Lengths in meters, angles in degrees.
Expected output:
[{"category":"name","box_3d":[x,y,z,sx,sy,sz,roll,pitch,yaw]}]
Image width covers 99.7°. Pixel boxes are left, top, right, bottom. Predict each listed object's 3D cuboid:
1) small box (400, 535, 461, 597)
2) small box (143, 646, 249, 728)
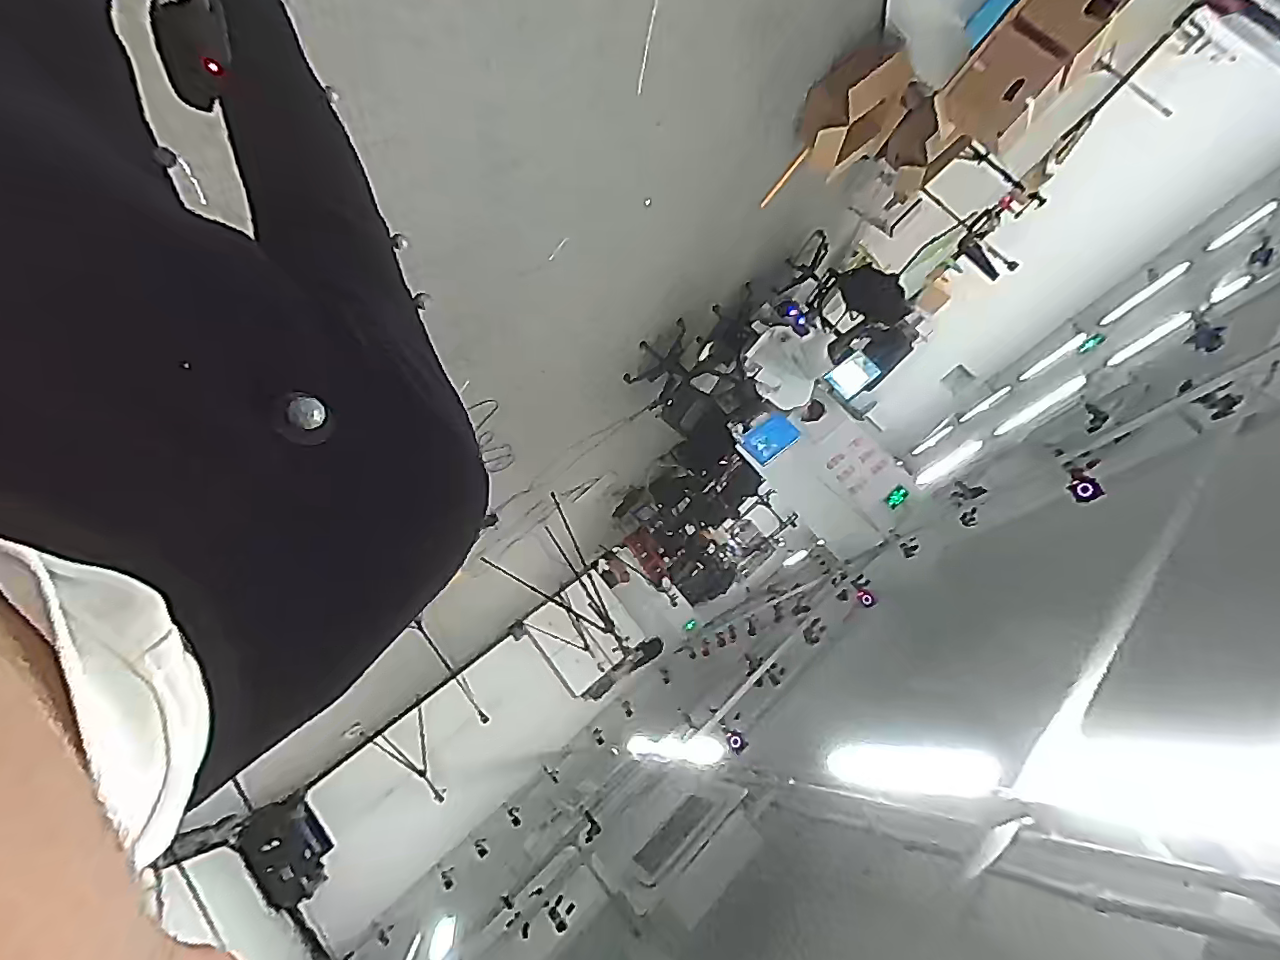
[{"category":"small box","box_3d":[-0.855,0.348,2.210,0.168,0.176,0.179,-34,168,-25]},{"category":"small box","box_3d":[-1.358,0.634,1.661,0.168,0.176,0.179,-36,169,-27]}]
